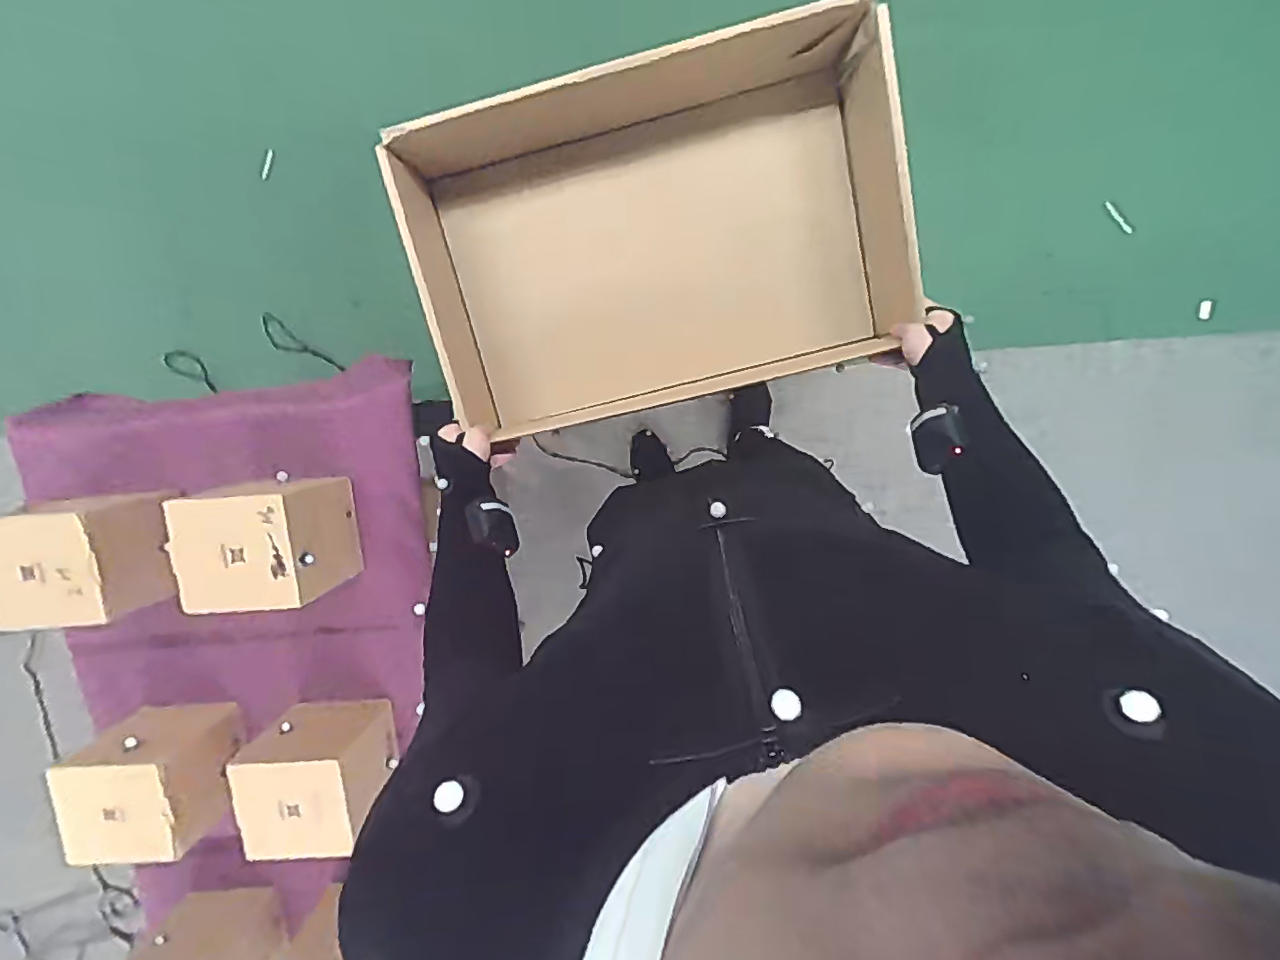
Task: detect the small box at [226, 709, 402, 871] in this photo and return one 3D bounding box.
[{"bbox_3d":[-0.520,0.496,0.885,0.179,0.176,0.168,-4,99,2],"label":"small box"}]

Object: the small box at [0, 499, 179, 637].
[{"bbox_3d":[-0.848,0.128,0.837,0.179,0.176,0.168,-4,100,1],"label":"small box"}]

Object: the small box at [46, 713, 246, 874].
[{"bbox_3d":[-0.795,0.506,0.893,0.179,0.176,0.168,-4,97,0],"label":"small box"}]

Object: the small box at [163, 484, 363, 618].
[{"bbox_3d":[-0.562,0.101,0.829,0.179,0.176,0.168,-3,99,4],"label":"small box"}]
